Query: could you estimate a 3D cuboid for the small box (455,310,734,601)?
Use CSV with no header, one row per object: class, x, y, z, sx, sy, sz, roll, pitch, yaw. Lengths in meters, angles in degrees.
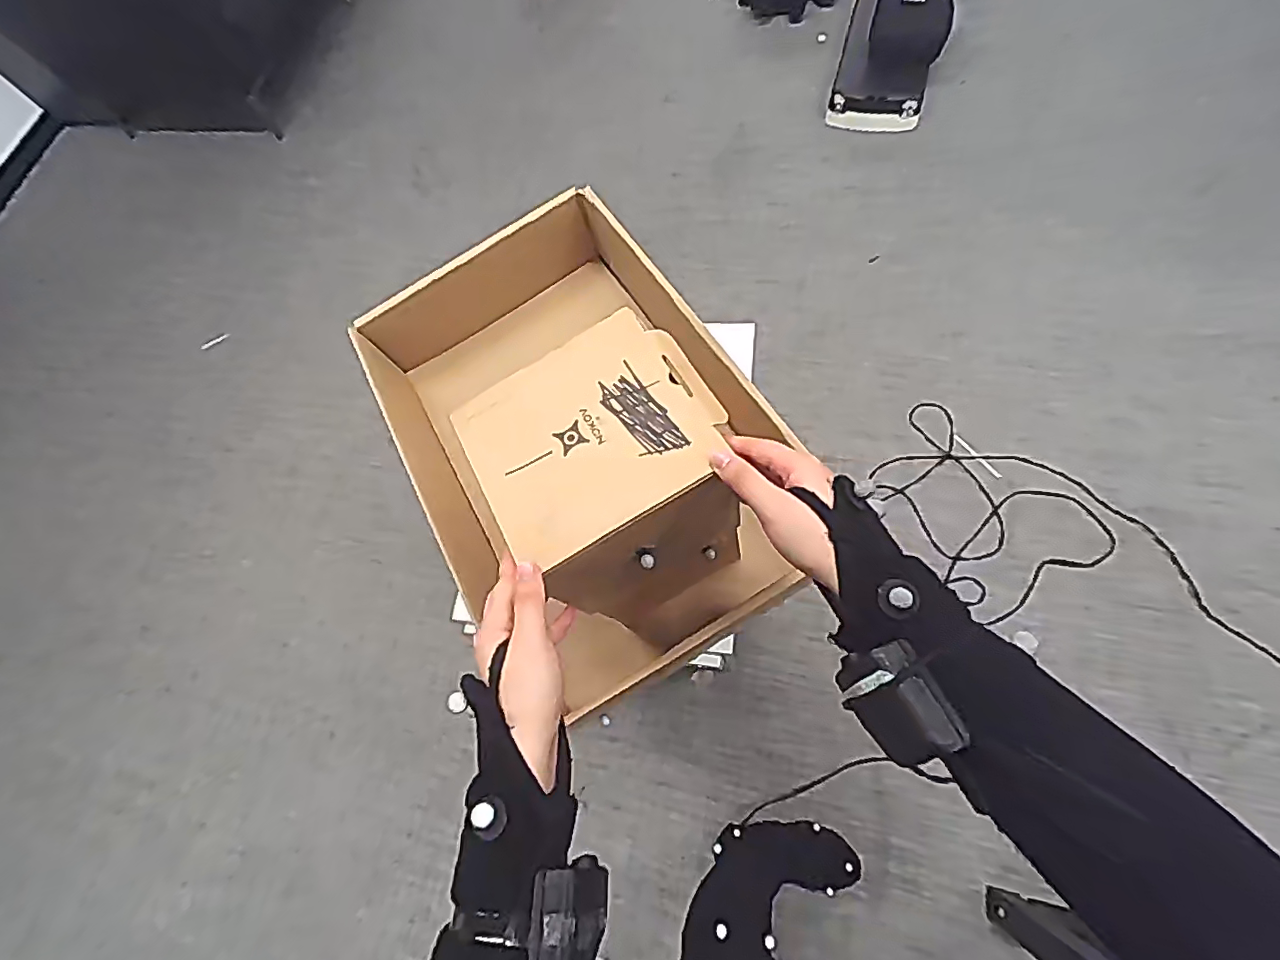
small box,-0.029,-0.010,0.494,0.179,0.176,0.168,-31,65,0
